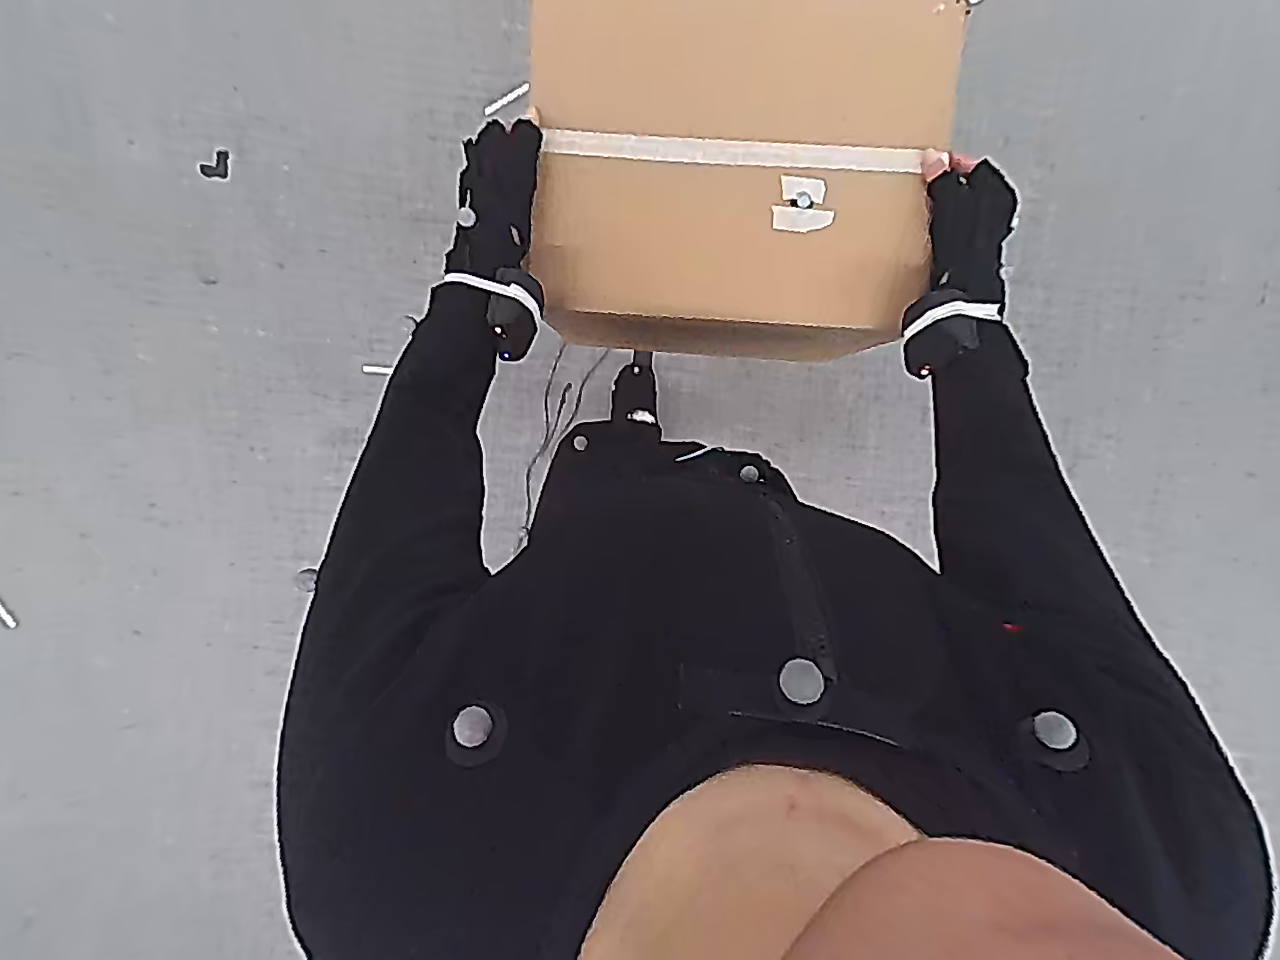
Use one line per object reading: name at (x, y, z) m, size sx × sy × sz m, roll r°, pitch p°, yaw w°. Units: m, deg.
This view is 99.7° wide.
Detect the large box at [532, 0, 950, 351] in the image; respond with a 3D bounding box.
large box at (0.093, -0.344, 0.682) m, size 0.408 × 0.320 × 0.320 m, roll 3°, pitch 97°, yaw 0°
